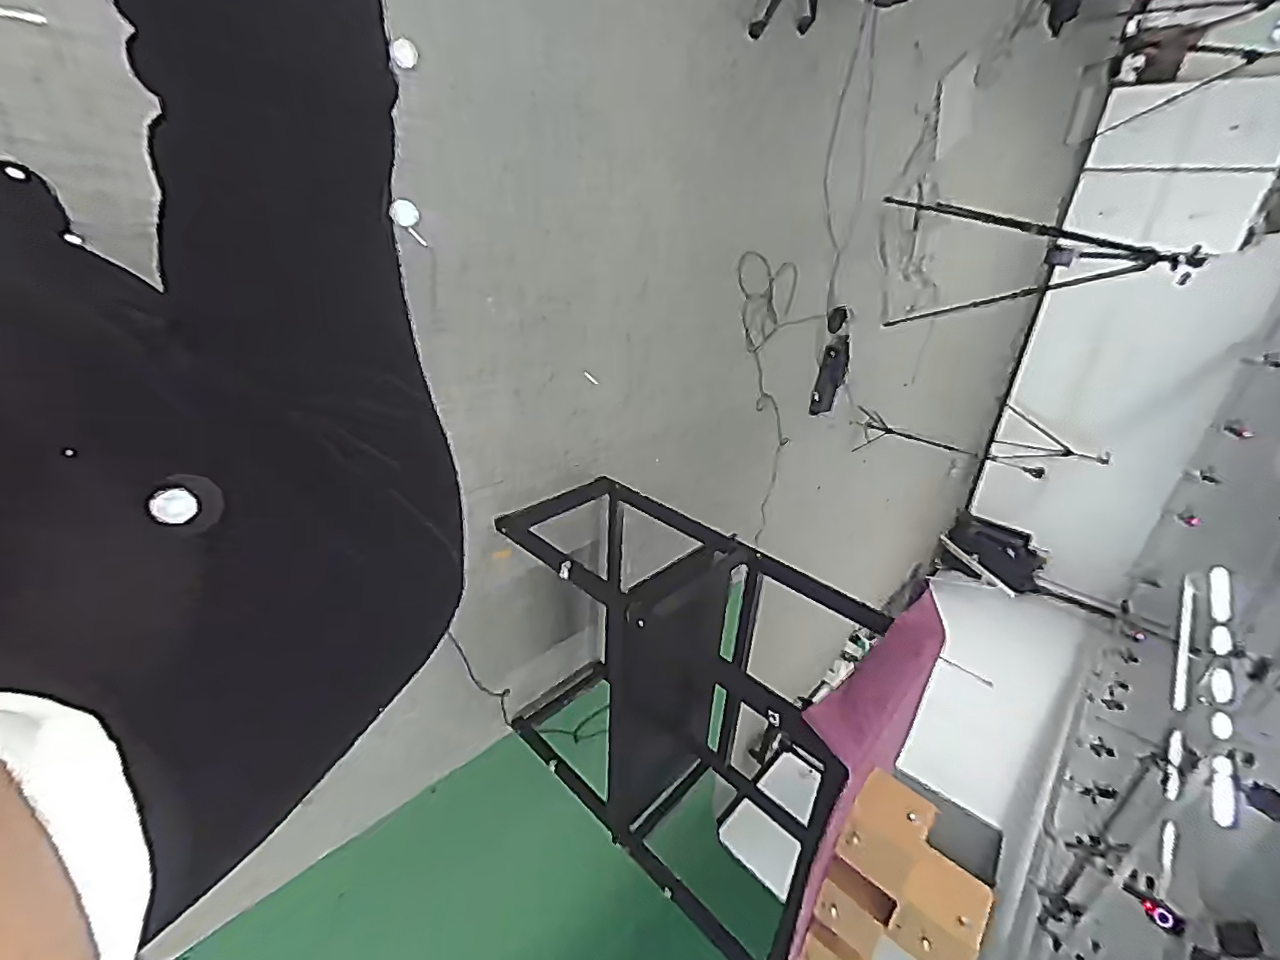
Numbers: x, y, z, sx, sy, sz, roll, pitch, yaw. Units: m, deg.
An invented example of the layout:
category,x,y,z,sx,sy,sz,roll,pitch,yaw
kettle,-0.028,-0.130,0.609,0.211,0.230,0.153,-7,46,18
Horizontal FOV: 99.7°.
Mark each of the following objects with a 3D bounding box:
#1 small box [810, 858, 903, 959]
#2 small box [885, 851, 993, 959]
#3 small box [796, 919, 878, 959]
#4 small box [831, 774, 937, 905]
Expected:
category,x,y,z,sx,sy,sz,roll,pitch,yaw
small box,0.591,1.138,1.469,0.179,0.176,0.168,-20,123,-43
small box,0.719,1.065,1.310,0.179,0.176,0.168,-21,125,-43
small box,0.582,1.384,1.590,0.179,0.176,0.168,-21,123,-45
small box,0.608,0.887,1.353,0.179,0.176,0.168,-18,122,-44
